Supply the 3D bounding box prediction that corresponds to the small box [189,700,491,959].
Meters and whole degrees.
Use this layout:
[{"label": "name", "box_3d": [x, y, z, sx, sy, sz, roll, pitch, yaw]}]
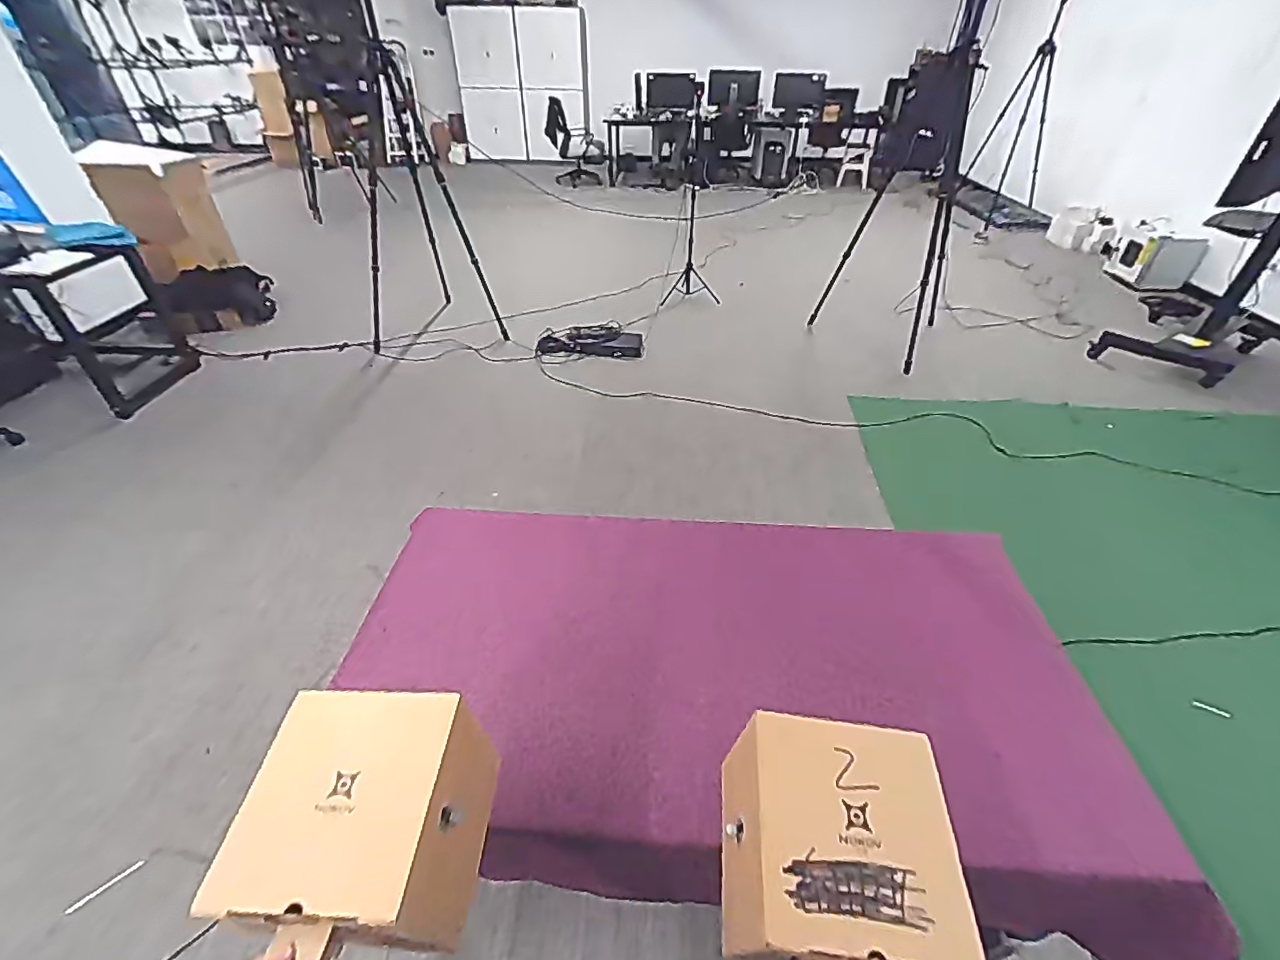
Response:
[{"label": "small box", "box_3d": [-0.252, 0.334, 0.514, 0.168, 0.176, 0.179, 1, 44, 3]}]
